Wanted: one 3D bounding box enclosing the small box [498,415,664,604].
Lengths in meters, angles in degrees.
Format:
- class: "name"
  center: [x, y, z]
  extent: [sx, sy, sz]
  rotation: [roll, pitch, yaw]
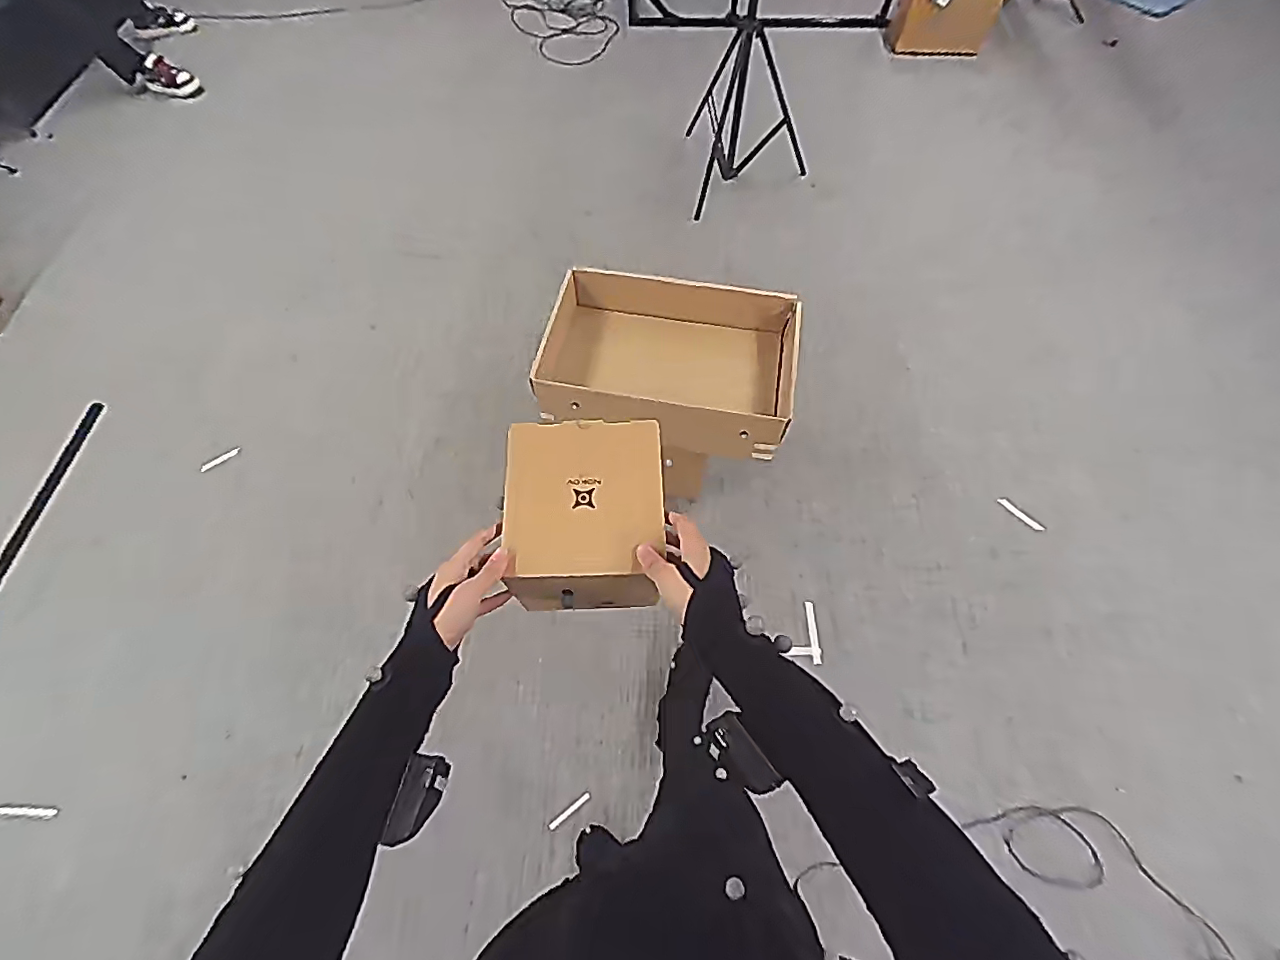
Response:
- class: "small box"
  center: [-0.060, 0.043, 0.628]
  extent: [0.168, 0.176, 0.179]
  rotation: [-2, 65, -2]
